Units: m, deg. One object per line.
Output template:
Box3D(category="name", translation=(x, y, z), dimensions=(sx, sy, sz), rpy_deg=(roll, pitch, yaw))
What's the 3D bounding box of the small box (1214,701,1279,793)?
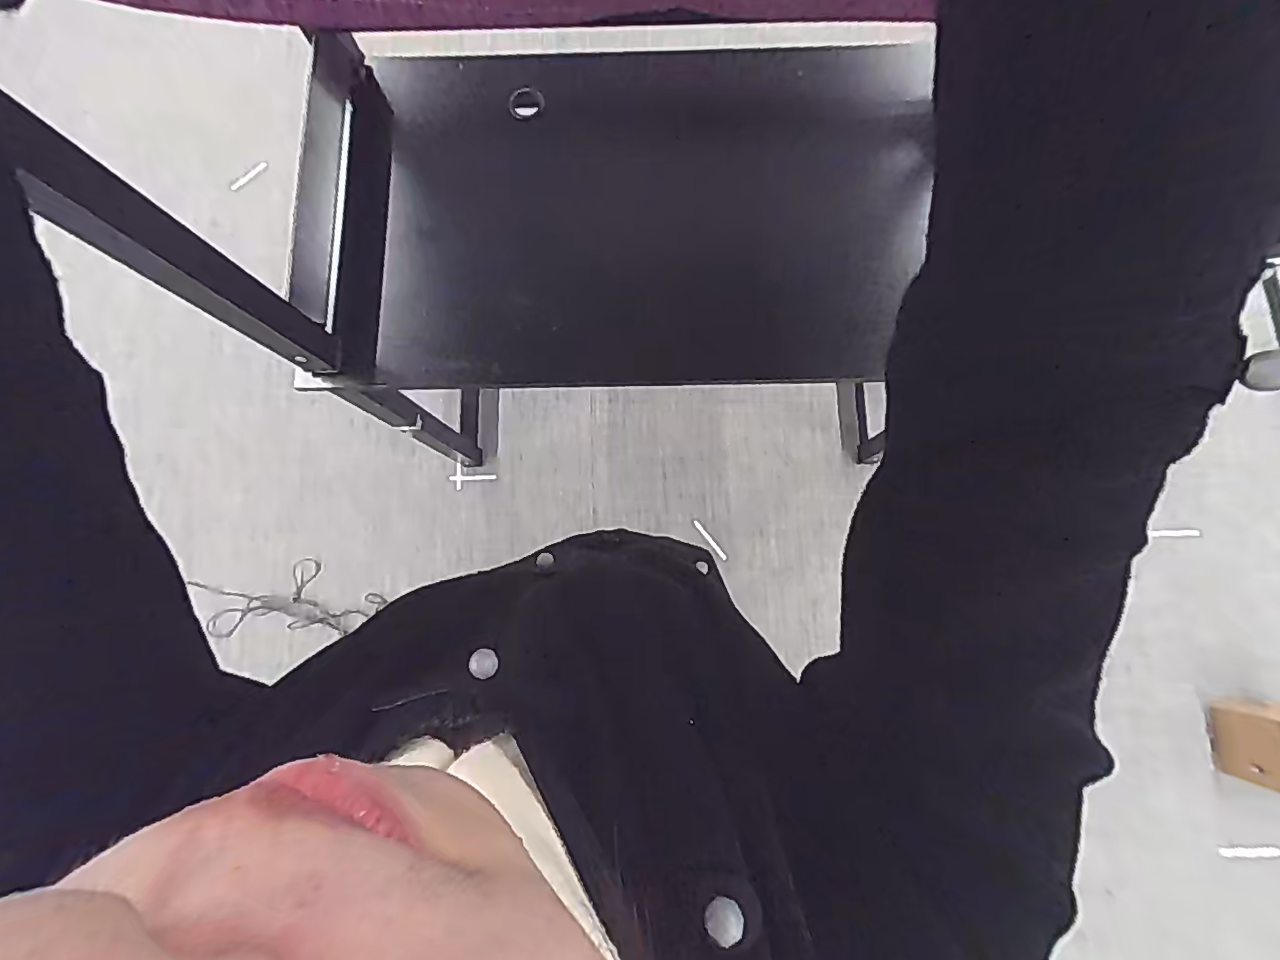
Box3D(category="small box", translation=(1.571, 0.652, 1.314), dimensions=(0.168, 0.176, 0.179), rpy_deg=(-2, 81, 1))
